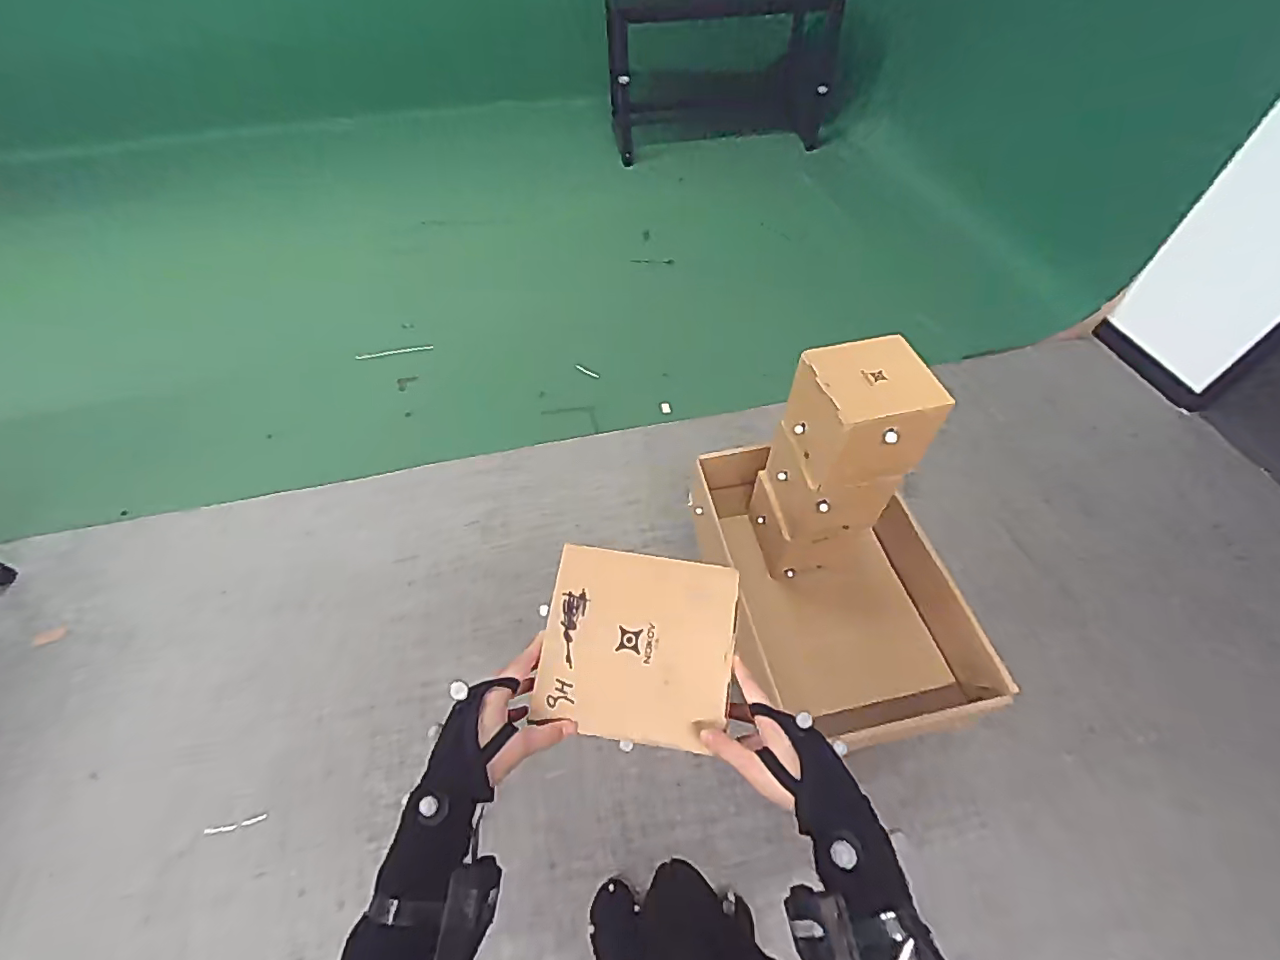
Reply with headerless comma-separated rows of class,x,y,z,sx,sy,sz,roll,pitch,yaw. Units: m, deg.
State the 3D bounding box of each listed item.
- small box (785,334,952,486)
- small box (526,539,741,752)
small box,0.361,-0.112,0.893,0.179,0.176,0.168,-12,54,-6
small box,-0.001,0.174,0.568,0.179,0.176,0.168,9,67,4
